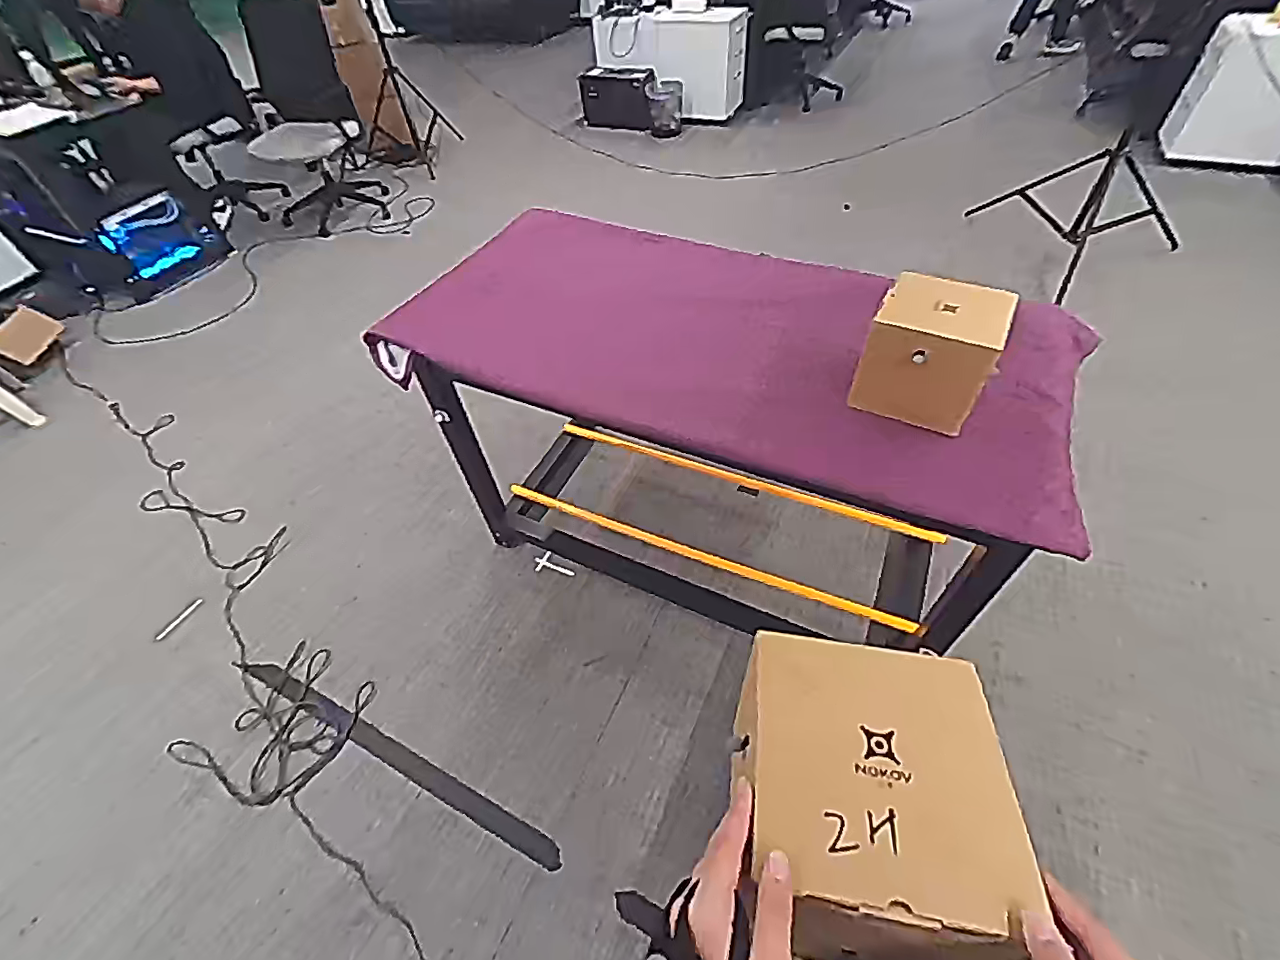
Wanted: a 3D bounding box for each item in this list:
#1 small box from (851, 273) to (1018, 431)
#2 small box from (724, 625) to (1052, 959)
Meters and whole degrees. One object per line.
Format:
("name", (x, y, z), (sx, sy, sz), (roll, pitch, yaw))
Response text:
("small box", (0.466, -0.203, 0.873), (0.179, 0.176, 0.168), (22, 54, 23))
("small box", (0.158, 0.243, 0.416), (0.168, 0.176, 0.179), (6, 41, 8))
